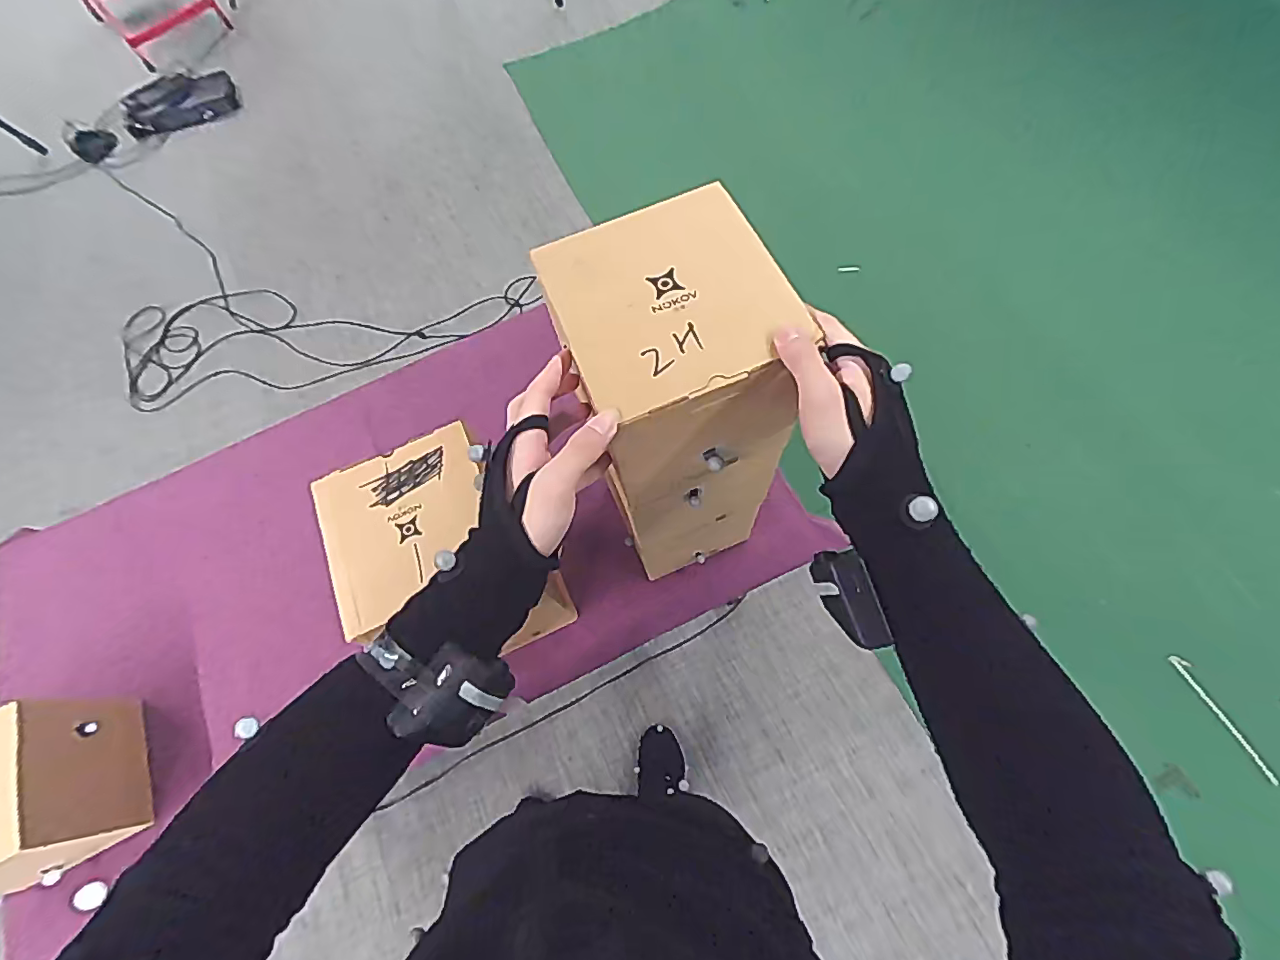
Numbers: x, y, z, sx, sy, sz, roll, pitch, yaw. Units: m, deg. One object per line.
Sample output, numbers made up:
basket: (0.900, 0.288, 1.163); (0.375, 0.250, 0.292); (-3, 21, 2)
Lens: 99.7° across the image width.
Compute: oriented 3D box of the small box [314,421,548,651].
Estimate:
small box: (-0.220, 0.071, 0.600); (0.168, 0.176, 0.179); (-24, 68, -5)

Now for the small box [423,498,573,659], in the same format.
small box: (-0.208, 0.136, 0.750); (0.168, 0.176, 0.179); (-25, 67, -5)

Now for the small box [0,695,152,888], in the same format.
small box: (-0.774, 0.395, 0.683); (0.168, 0.176, 0.179); (-27, 68, -6)

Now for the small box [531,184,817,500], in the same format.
small box: (0.024, -0.108, 0.473); (0.168, 0.176, 0.179); (-22, 68, -4)
